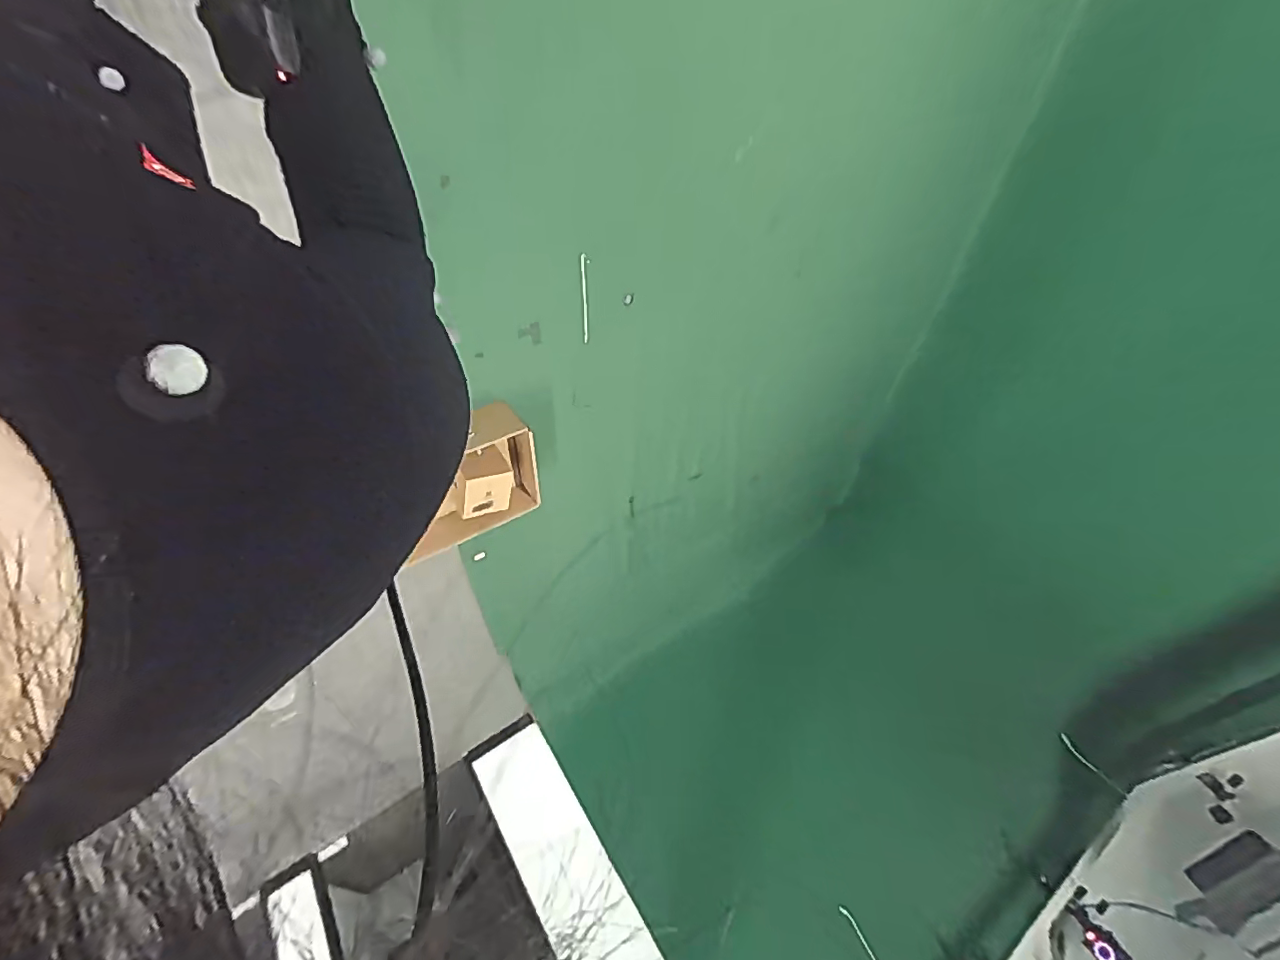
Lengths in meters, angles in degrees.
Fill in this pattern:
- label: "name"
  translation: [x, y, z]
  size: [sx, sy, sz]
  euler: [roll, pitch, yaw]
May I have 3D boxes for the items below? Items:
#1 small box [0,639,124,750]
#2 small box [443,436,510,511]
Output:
- label: "small box"
  translation: [-1.411, 0.515, 1.325]
  size: [0.168, 0.176, 0.179]
  euler: [-16, 139, -29]
- label: "small box"
  translation: [-0.563, -0.026, 1.843]
  size: [0.168, 0.176, 0.179]
  euler: [-14, 139, -36]
